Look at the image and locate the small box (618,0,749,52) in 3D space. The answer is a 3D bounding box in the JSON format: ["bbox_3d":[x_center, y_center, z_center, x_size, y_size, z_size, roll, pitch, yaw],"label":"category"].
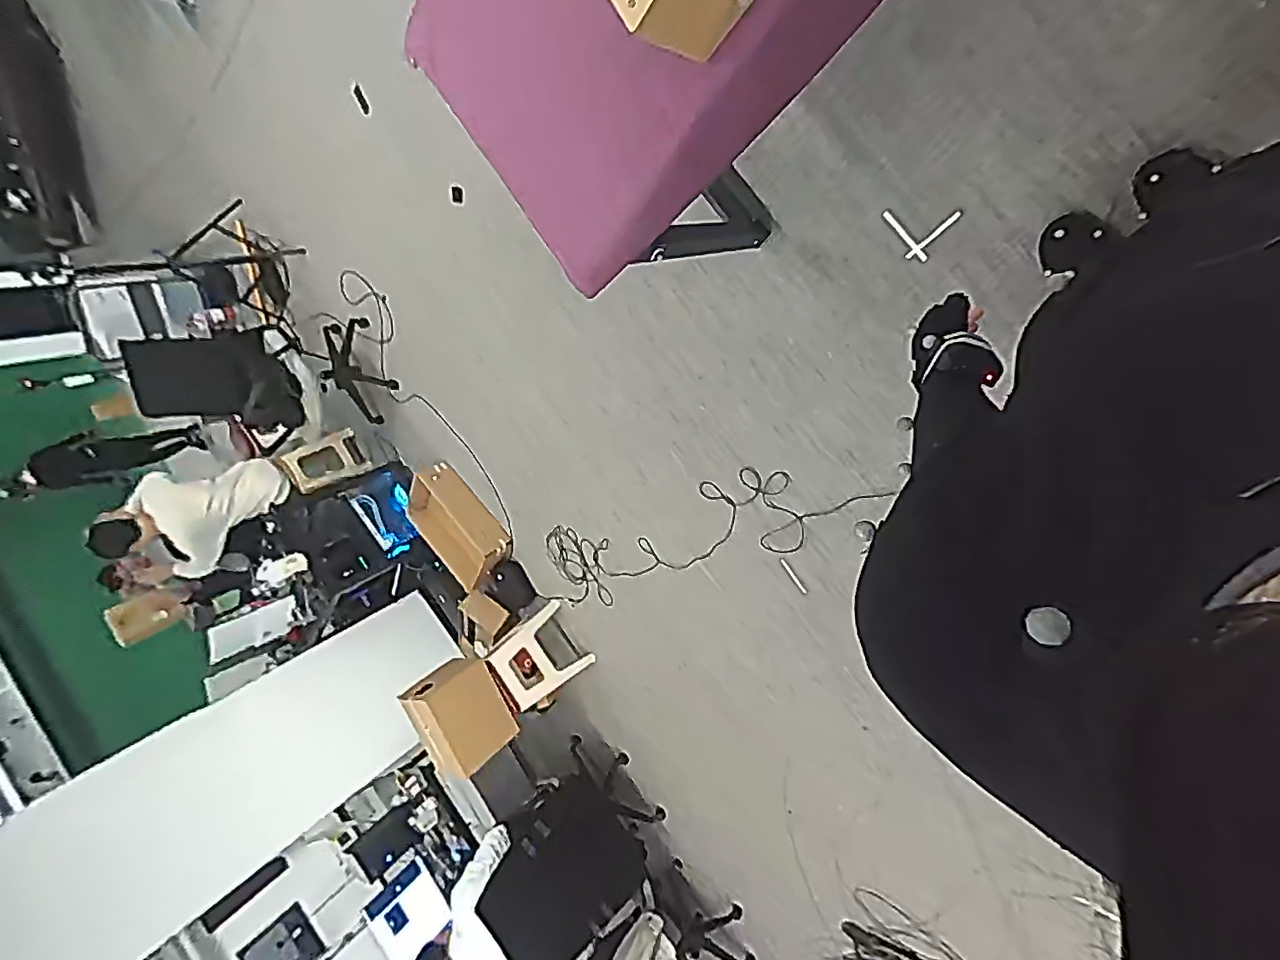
[{"bbox_3d":[0.054,-0.645,0.614,0.179,0.176,0.168,-31,89,44],"label":"small box"}]
